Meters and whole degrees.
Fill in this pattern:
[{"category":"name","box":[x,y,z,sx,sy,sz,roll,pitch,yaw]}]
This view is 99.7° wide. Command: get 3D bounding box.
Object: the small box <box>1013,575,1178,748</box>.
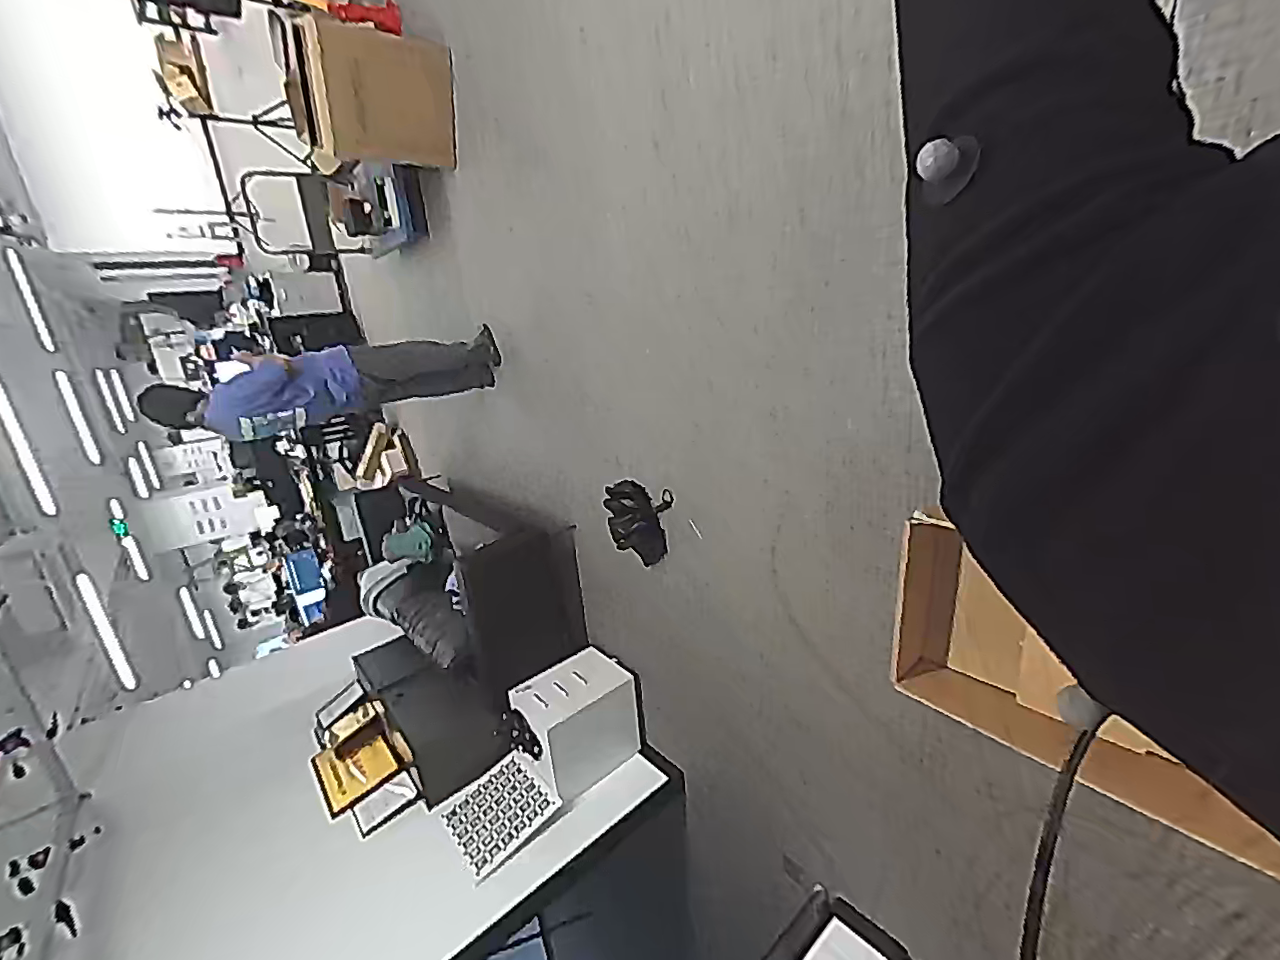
[{"category":"small box","box":[0.736,0.278,0.877,0.168,0.176,0.179,15,119,49]}]
